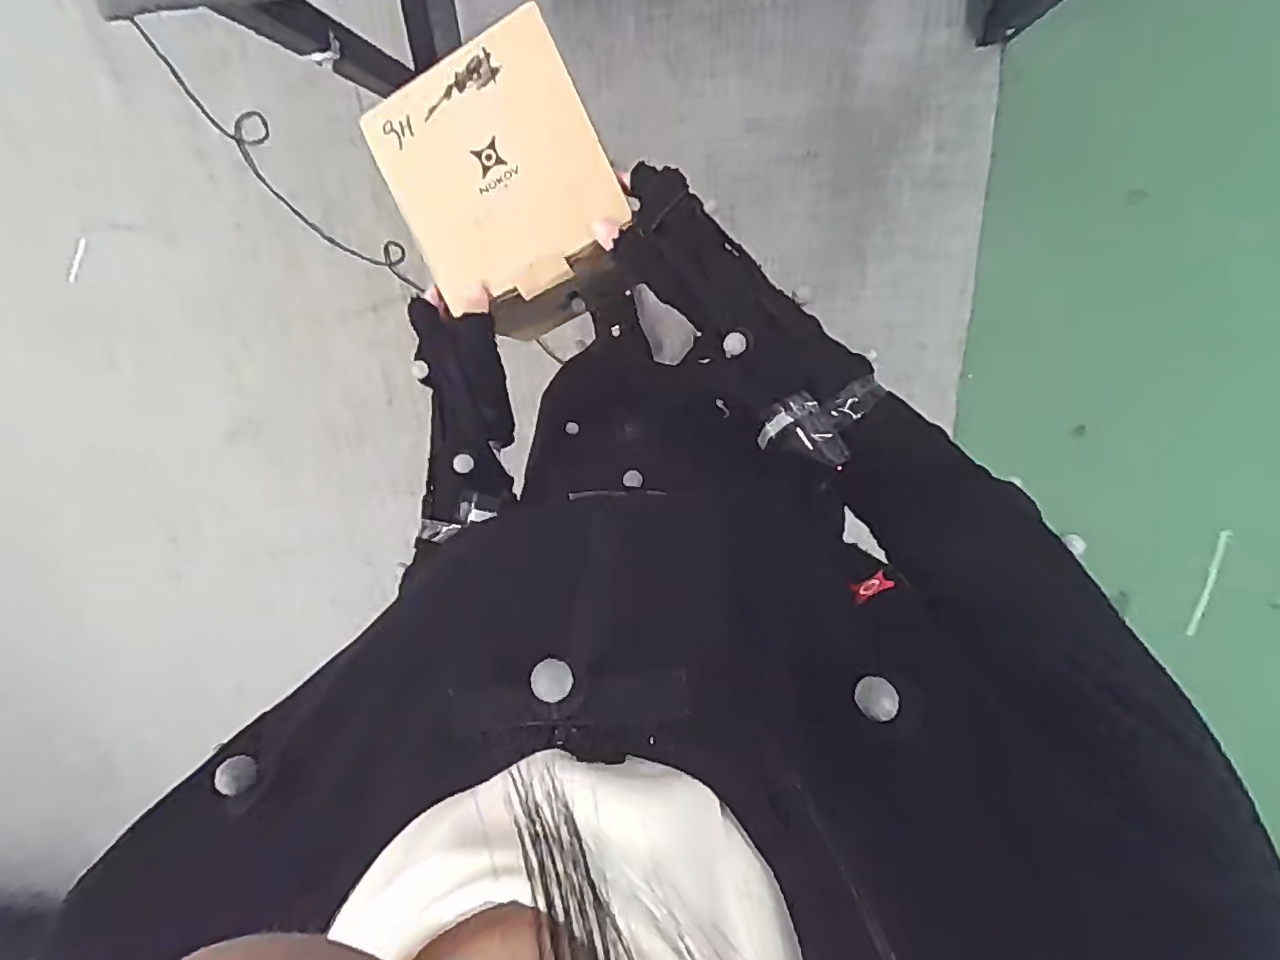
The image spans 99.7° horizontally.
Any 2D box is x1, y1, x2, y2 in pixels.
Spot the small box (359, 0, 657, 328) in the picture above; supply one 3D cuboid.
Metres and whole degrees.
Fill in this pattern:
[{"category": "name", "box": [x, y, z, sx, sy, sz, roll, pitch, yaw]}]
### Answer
[{"category": "small box", "box": [-0.099, -0.252, 0.490, 0.168, 0.176, 0.179, -27, 94, 13]}]
